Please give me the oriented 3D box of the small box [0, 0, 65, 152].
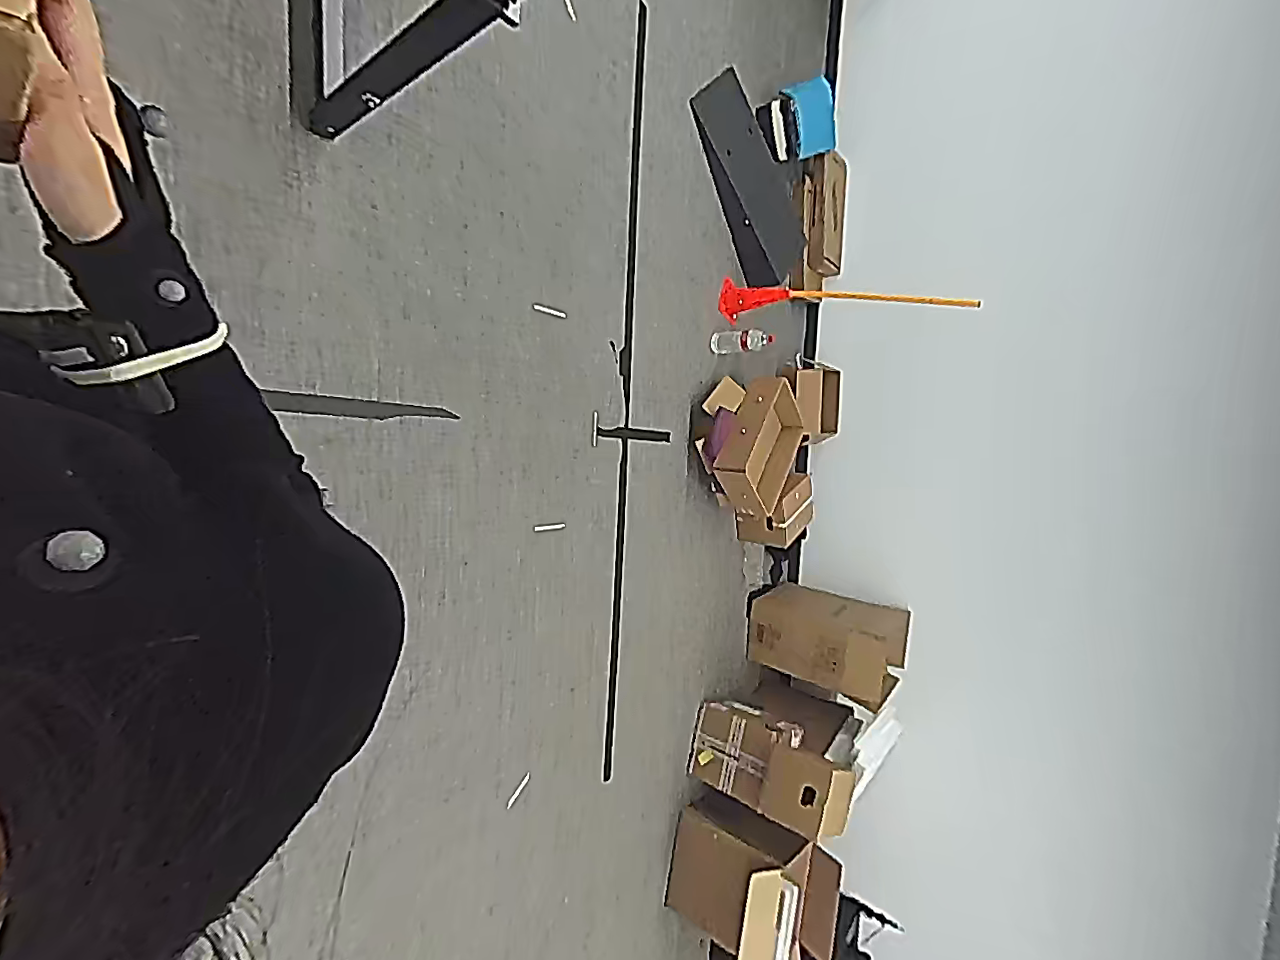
[{"bbox_3d":[-0.312,-0.231,0.163,0.168,0.176,0.179,-13,106,-51],"label":"small box"}]
